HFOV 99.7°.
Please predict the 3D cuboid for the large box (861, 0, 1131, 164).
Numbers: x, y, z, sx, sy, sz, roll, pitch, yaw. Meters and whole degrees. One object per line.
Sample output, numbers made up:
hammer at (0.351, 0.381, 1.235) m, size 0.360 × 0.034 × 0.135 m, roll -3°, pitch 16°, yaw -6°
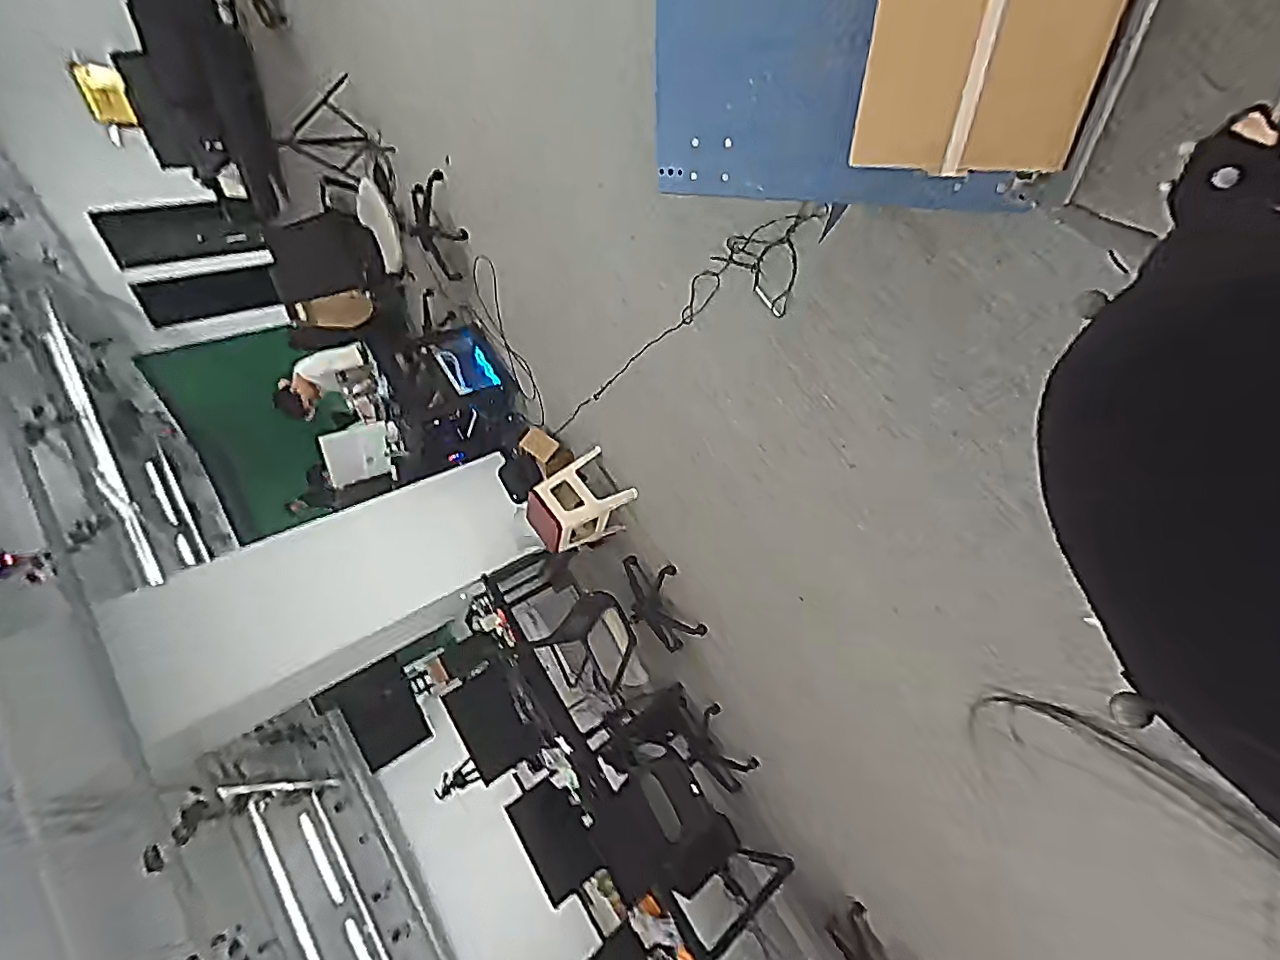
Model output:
large box at (0.570, -0.749, 0.870) m, size 0.320 × 0.320 × 0.408 m, roll 13°, pitch 126°, yaw 20°
